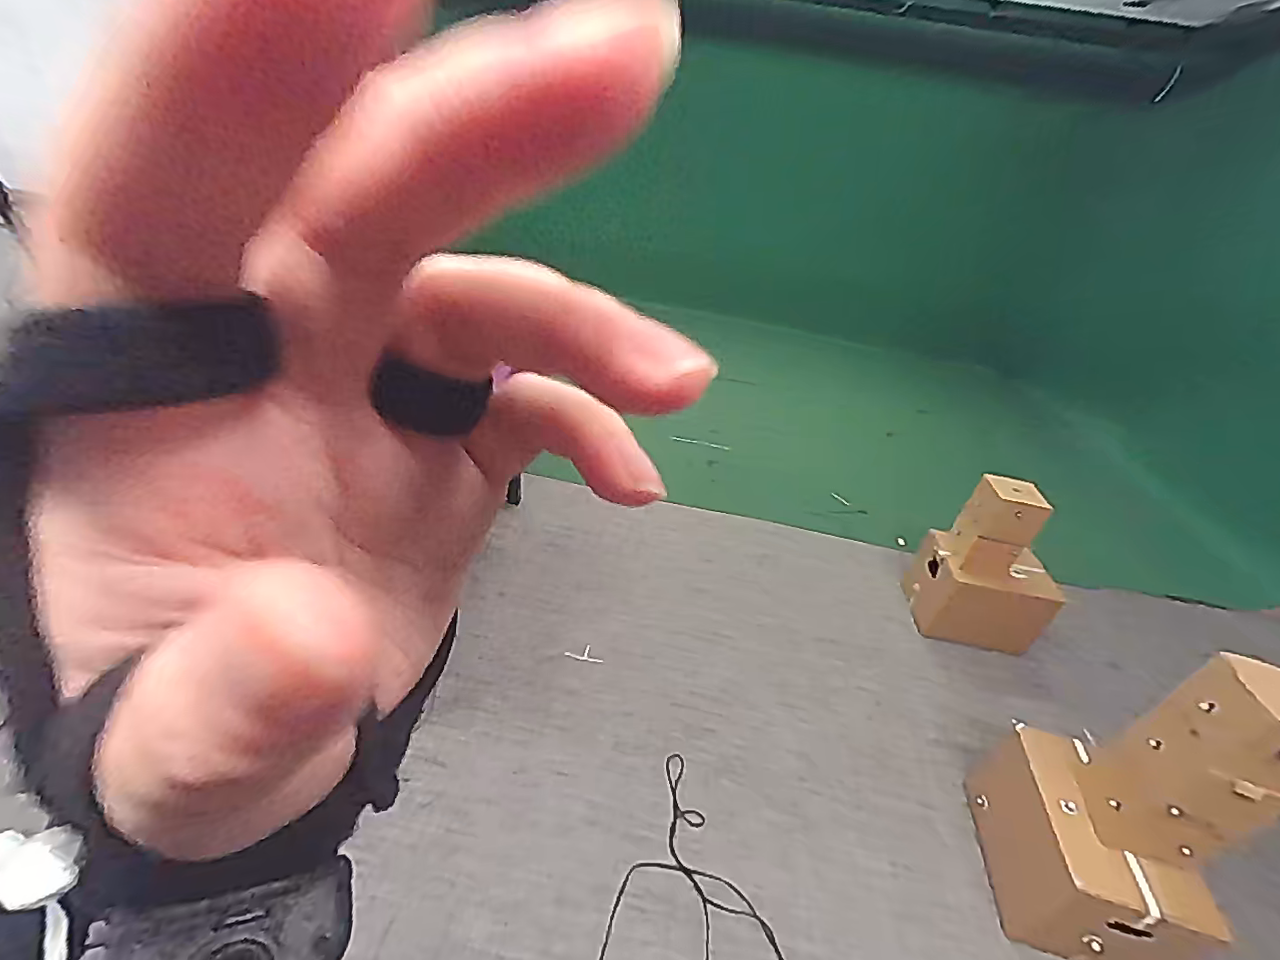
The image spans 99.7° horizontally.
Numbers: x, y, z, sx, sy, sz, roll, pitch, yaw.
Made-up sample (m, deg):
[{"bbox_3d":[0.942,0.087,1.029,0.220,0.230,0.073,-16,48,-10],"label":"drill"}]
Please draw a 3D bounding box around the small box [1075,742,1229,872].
[{"bbox_3d":[1.163,0.757,1.249,0.168,0.176,0.179,18,34,9],"label":"small box"}]

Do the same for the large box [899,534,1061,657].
[{"bbox_3d":[1.333,0.462,2.171,0.408,0.320,0.320,12,34,2],"label":"large box"}]

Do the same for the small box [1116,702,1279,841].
[{"bbox_3d":[1.185,0.624,1.155,0.168,0.176,0.179,19,34,10],"label":"small box"}]

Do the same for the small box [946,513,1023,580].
[{"bbox_3d":[1.280,0.250,2.031,0.179,0.176,0.168,13,34,4],"label":"small box"}]

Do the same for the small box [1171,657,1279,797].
[{"bbox_3d":[1.216,0.489,1.065,0.179,0.176,0.168,18,35,10],"label":"small box"}]

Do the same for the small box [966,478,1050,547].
[{"bbox_3d":[1.300,0.119,1.933,0.179,0.176,0.168,13,34,4],"label":"small box"}]
